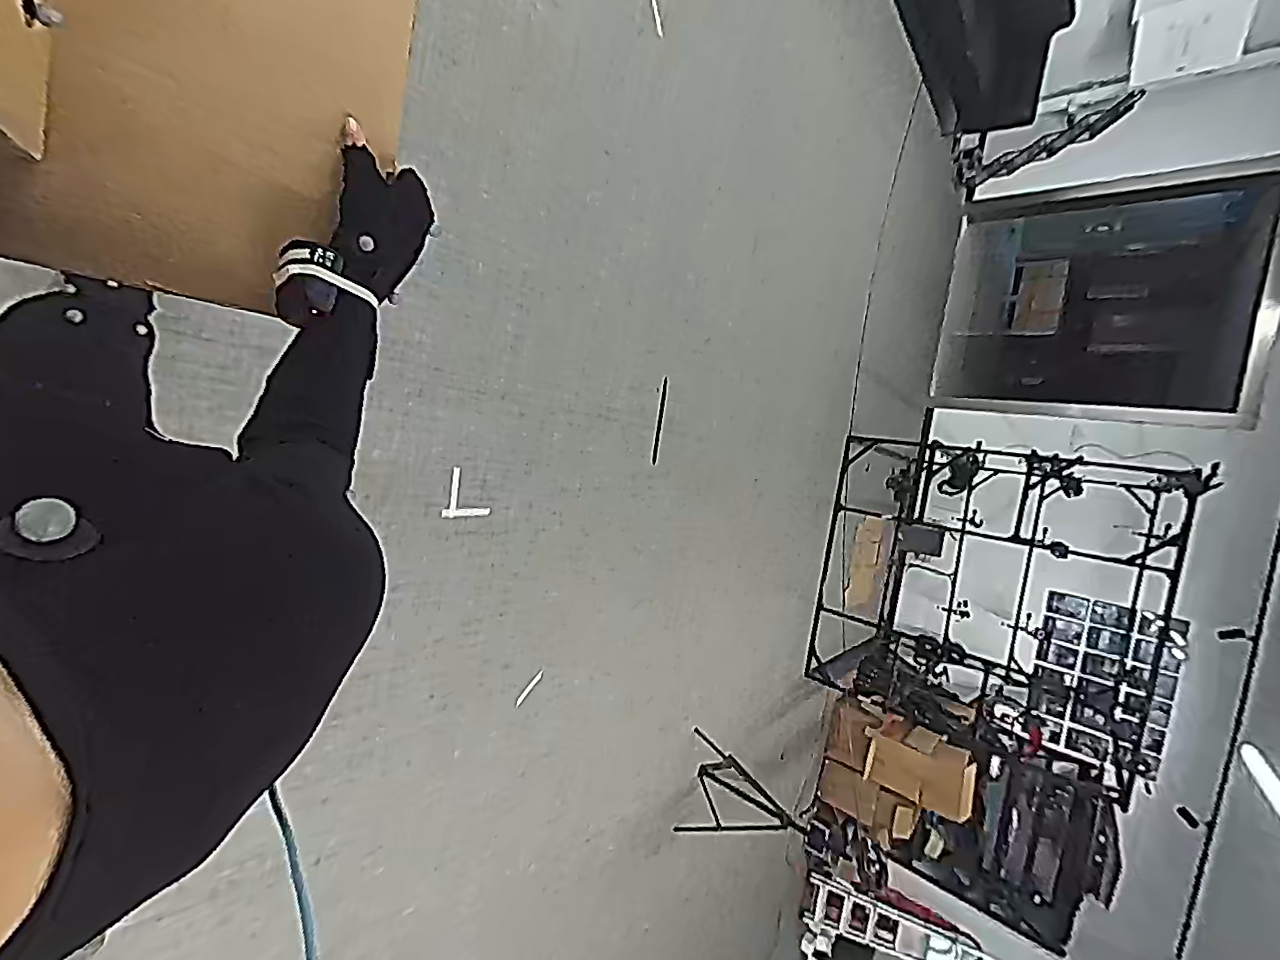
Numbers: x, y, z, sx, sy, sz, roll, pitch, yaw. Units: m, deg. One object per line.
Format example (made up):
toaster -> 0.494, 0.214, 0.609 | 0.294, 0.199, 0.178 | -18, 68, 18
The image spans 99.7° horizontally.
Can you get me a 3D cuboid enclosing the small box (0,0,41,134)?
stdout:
small box -> -0.428, -0.299, 0.262 | 0.179, 0.176, 0.168 | 5, 103, -42
